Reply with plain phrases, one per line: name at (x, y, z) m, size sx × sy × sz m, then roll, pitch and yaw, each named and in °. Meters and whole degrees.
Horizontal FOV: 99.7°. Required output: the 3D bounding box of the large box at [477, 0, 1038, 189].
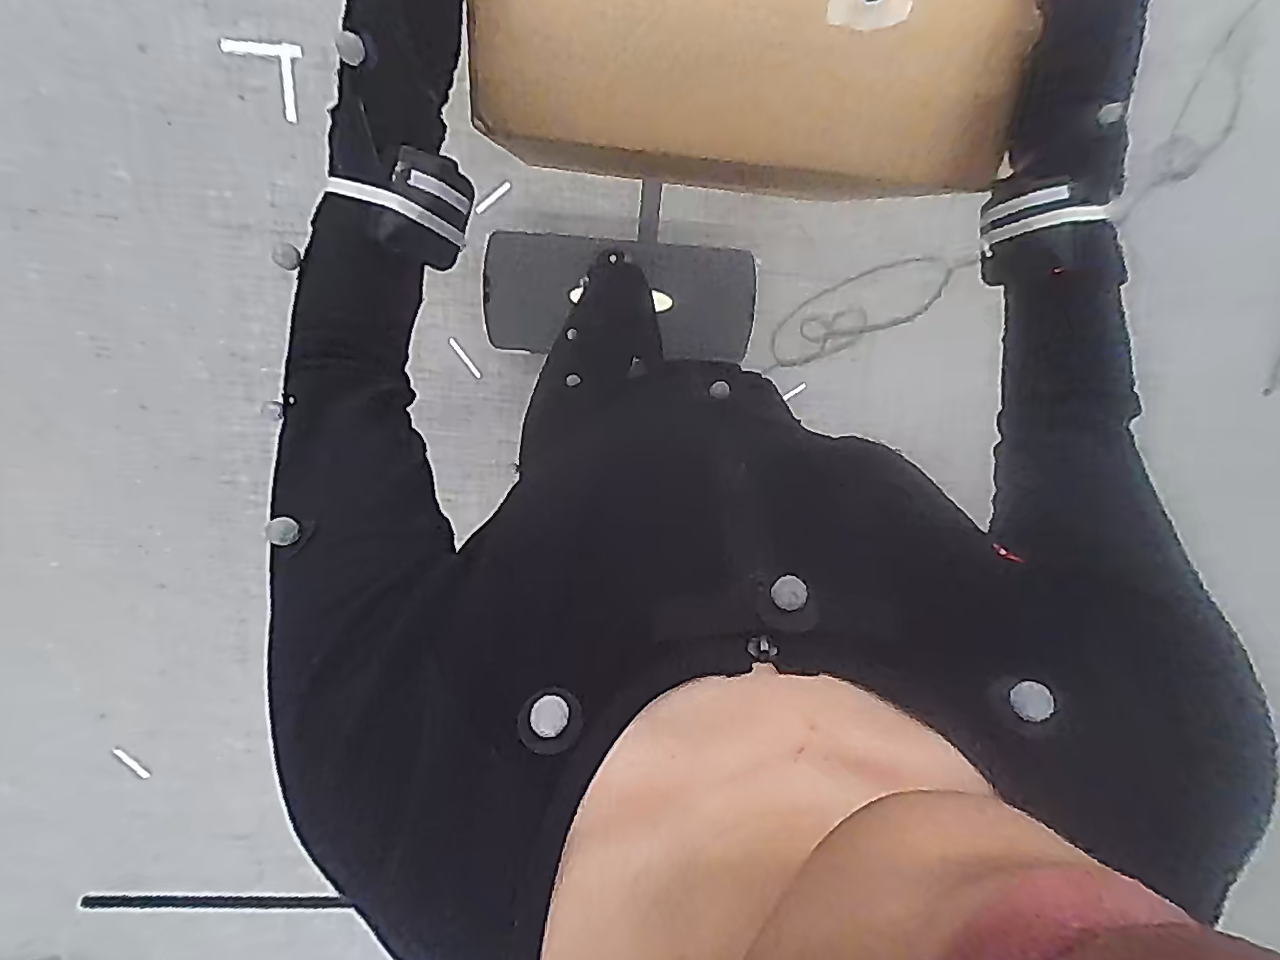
large box at (0.078, -0.456, 0.481) m, size 0.408 × 0.320 × 0.320 m, roll 2°, pitch 116°, yaw -7°
